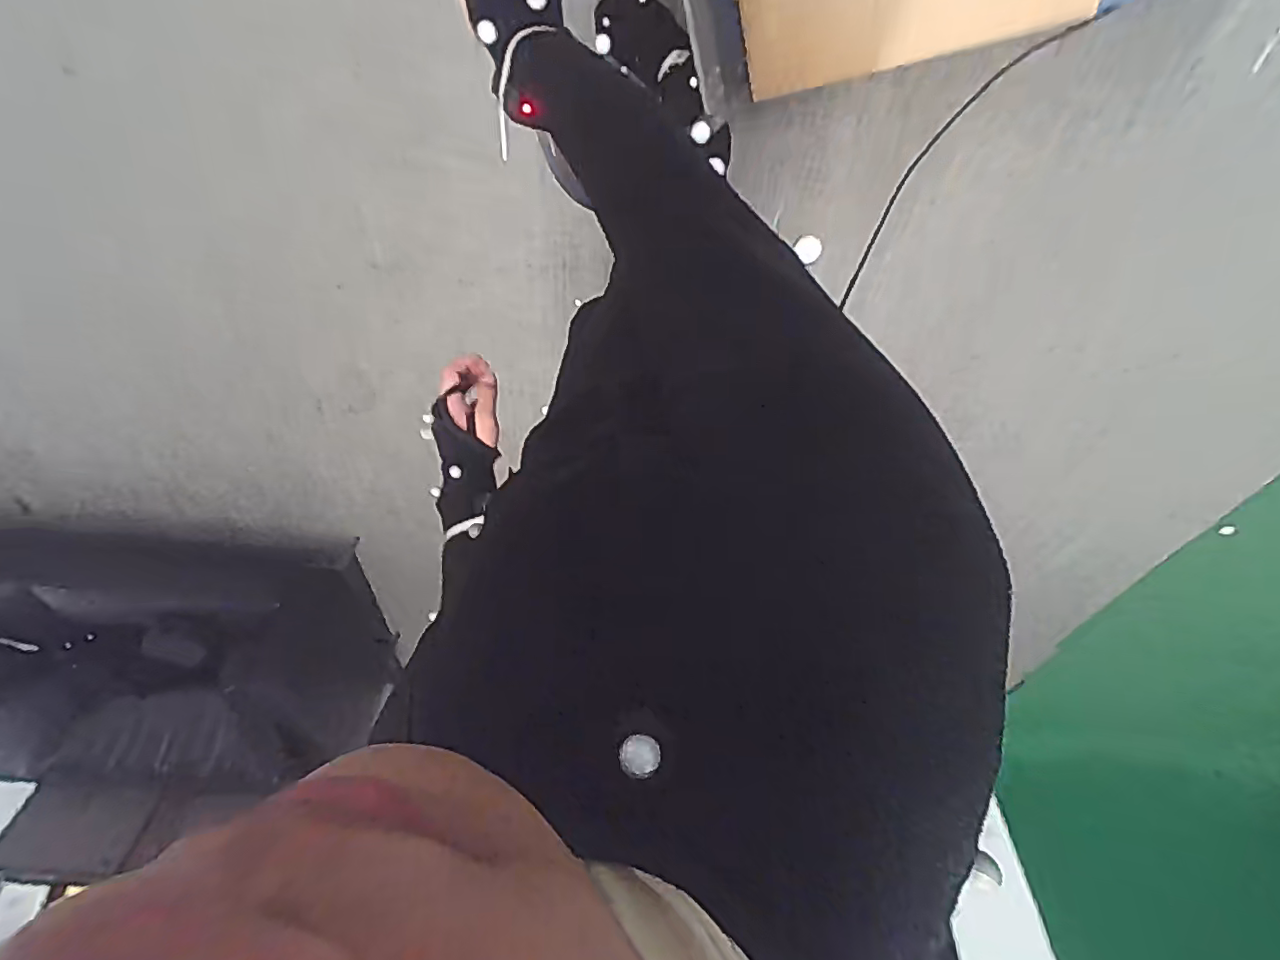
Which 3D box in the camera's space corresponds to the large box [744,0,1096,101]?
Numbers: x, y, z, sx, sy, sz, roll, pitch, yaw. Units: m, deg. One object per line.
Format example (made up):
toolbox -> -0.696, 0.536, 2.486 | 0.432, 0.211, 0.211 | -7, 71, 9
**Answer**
large box -> 0.352, -0.764, 0.705 | 0.408, 0.320, 0.320 | 2, 137, 25
